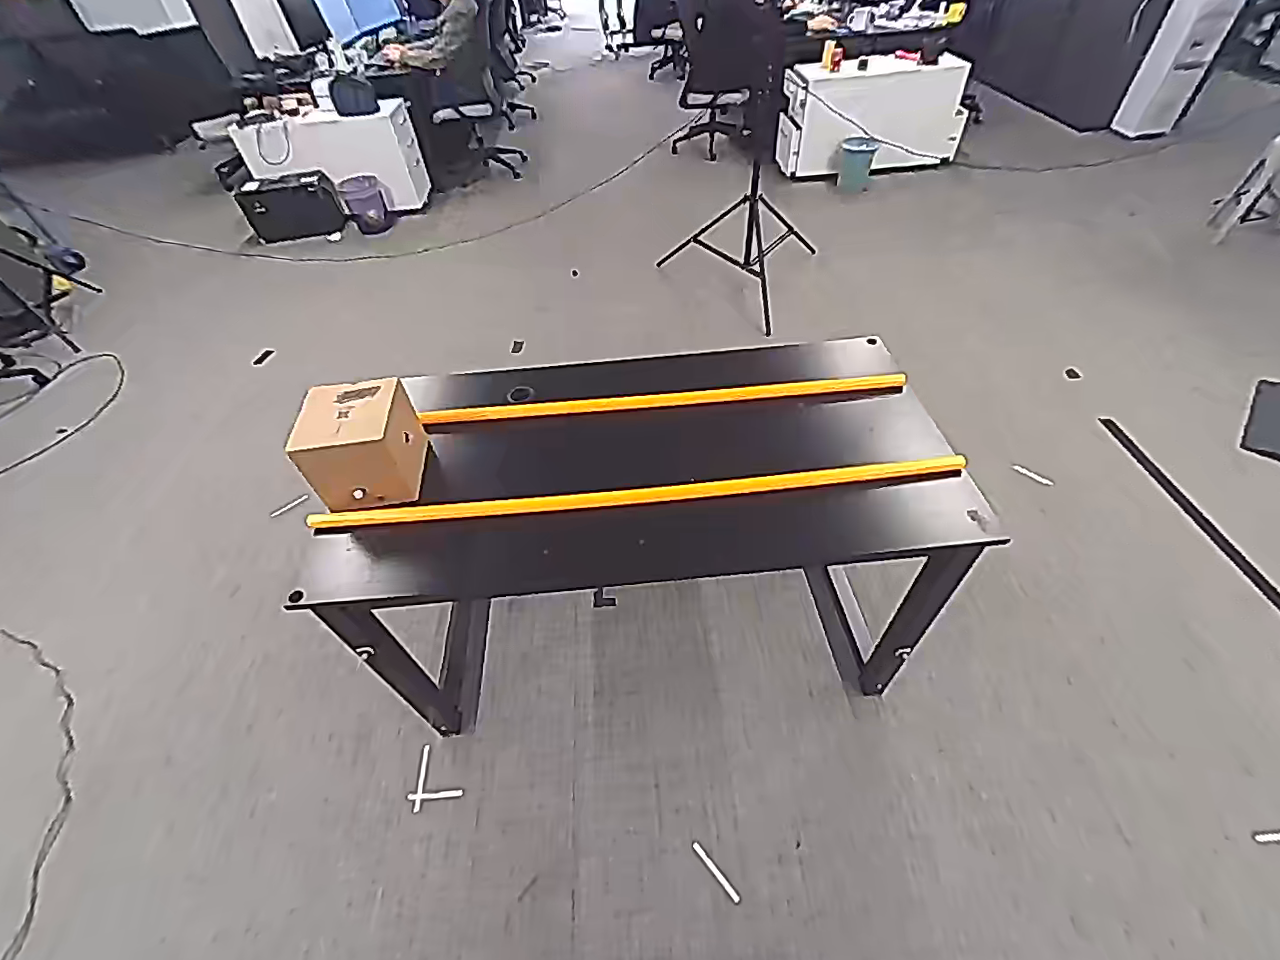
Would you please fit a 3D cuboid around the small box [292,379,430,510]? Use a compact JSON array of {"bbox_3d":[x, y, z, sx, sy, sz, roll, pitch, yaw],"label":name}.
[{"bbox_3d":[-0.515,-0.067,1.031,0.168,0.176,0.179,-8,49,-3],"label":"small box"}]
